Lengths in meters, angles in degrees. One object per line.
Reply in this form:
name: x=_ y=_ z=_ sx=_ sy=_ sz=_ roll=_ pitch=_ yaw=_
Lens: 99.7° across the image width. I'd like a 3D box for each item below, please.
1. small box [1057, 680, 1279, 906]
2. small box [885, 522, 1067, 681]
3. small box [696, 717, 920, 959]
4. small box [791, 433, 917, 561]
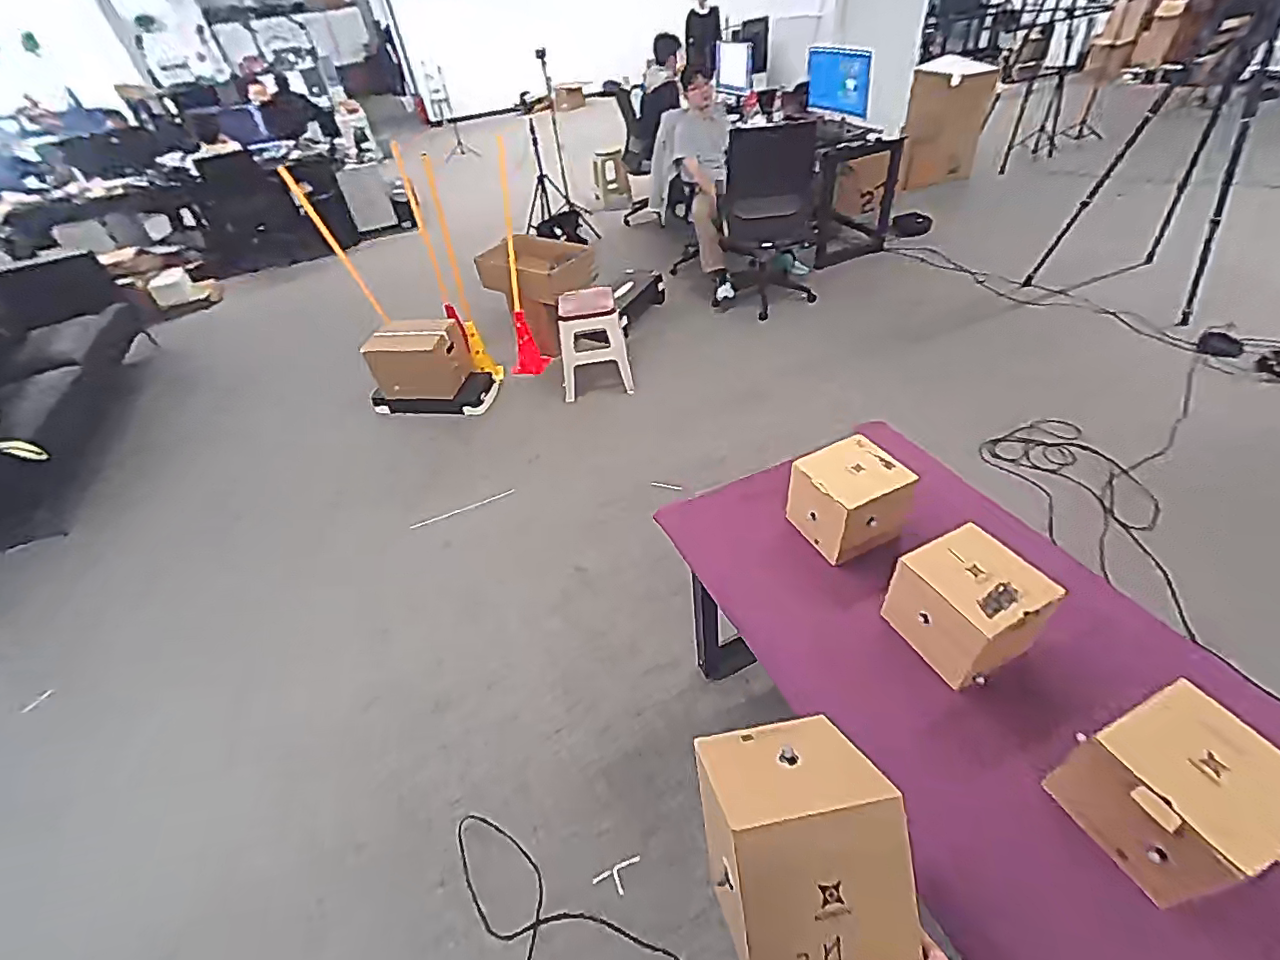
small box: x=0.681 y=0.396 z=0.686 sx=0.179 sy=0.176 sz=0.168 roll=-21 pitch=44 yaw=-14
small box: x=0.548 y=0.209 z=0.909 sx=0.168 sy=0.176 sz=0.179 roll=-22 pitch=43 yaw=-14
small box: x=0.162 y=0.374 z=0.573 sx=0.168 sy=0.179 sz=0.176 roll=-7 pitch=2 yaw=-6
small box: x=0.429 y=0.038 z=1.113 sx=0.179 sy=0.176 sz=0.168 roll=-22 pitch=45 yaw=-14
